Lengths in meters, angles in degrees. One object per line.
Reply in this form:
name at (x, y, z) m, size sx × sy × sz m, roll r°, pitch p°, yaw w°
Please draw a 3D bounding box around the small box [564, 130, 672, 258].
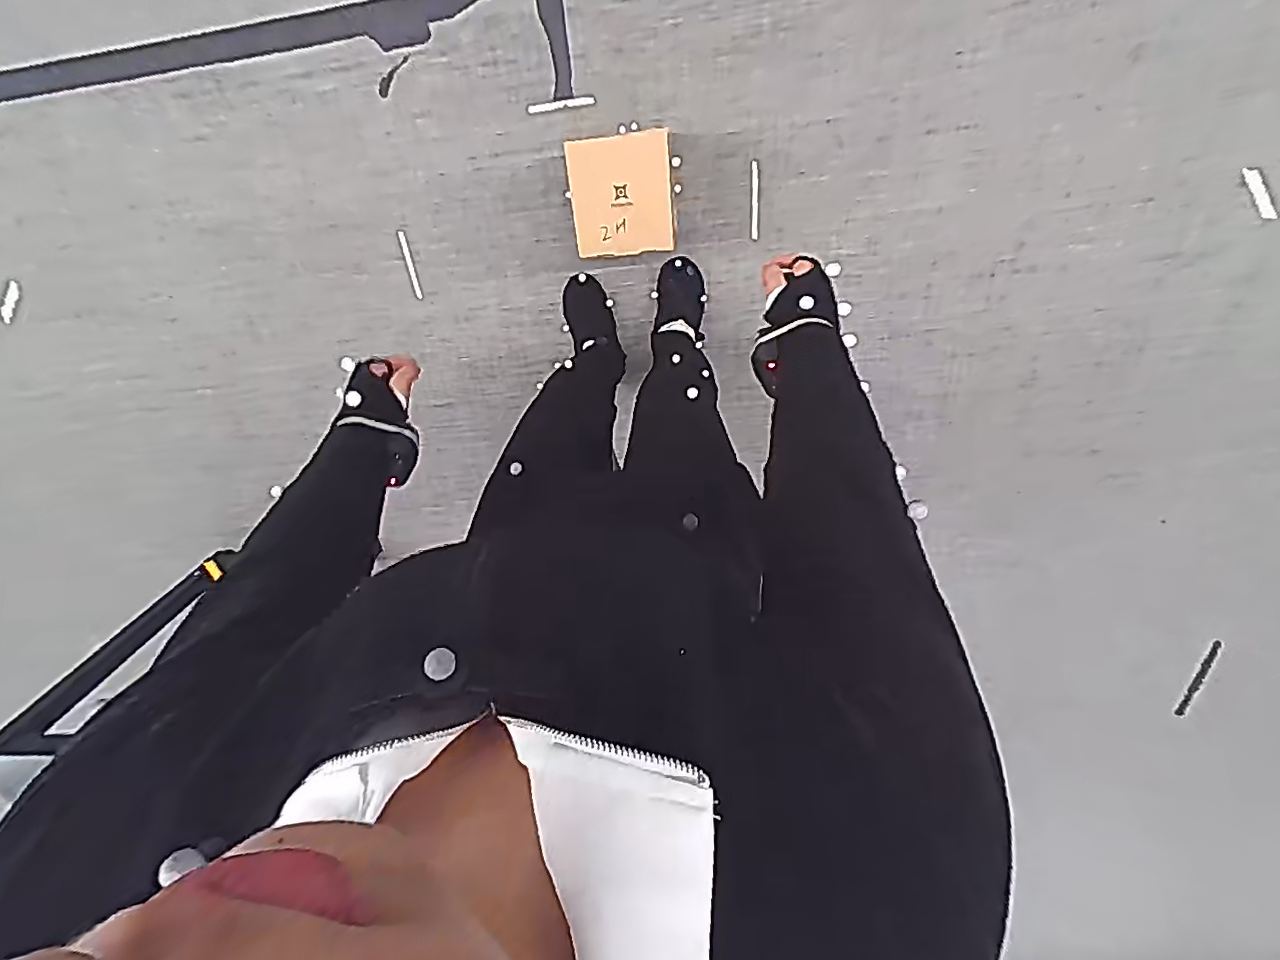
small box at (-0.029, -0.502, 0.953) m, size 0.168 × 0.176 × 0.179 m, roll -2°, pitch 121°, yaw 6°
